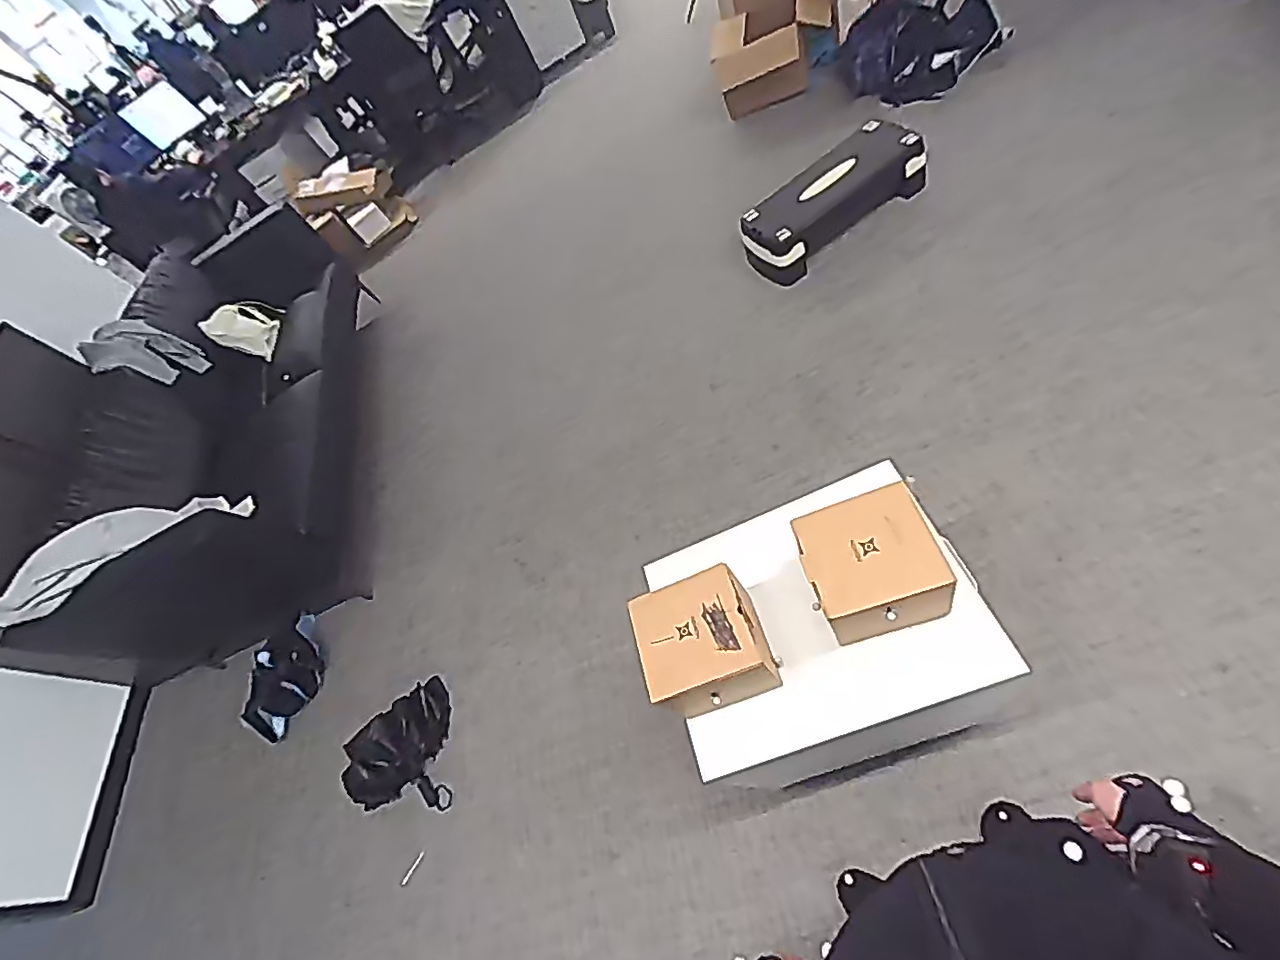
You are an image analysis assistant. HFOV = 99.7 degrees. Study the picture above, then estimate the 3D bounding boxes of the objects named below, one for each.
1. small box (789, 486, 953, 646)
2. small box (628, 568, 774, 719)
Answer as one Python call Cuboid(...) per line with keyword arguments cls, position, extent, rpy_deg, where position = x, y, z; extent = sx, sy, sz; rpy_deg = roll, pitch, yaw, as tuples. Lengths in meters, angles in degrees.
Cuboid(cls="small box", position=(0.353, 0.141, 0.835), extent=(0.179, 0.176, 0.168), rpy_deg=(-22, 55, 13))
Cuboid(cls="small box", position=(0.106, 0.271, 0.877), extent=(0.179, 0.176, 0.168), rpy_deg=(-25, 53, 12))
